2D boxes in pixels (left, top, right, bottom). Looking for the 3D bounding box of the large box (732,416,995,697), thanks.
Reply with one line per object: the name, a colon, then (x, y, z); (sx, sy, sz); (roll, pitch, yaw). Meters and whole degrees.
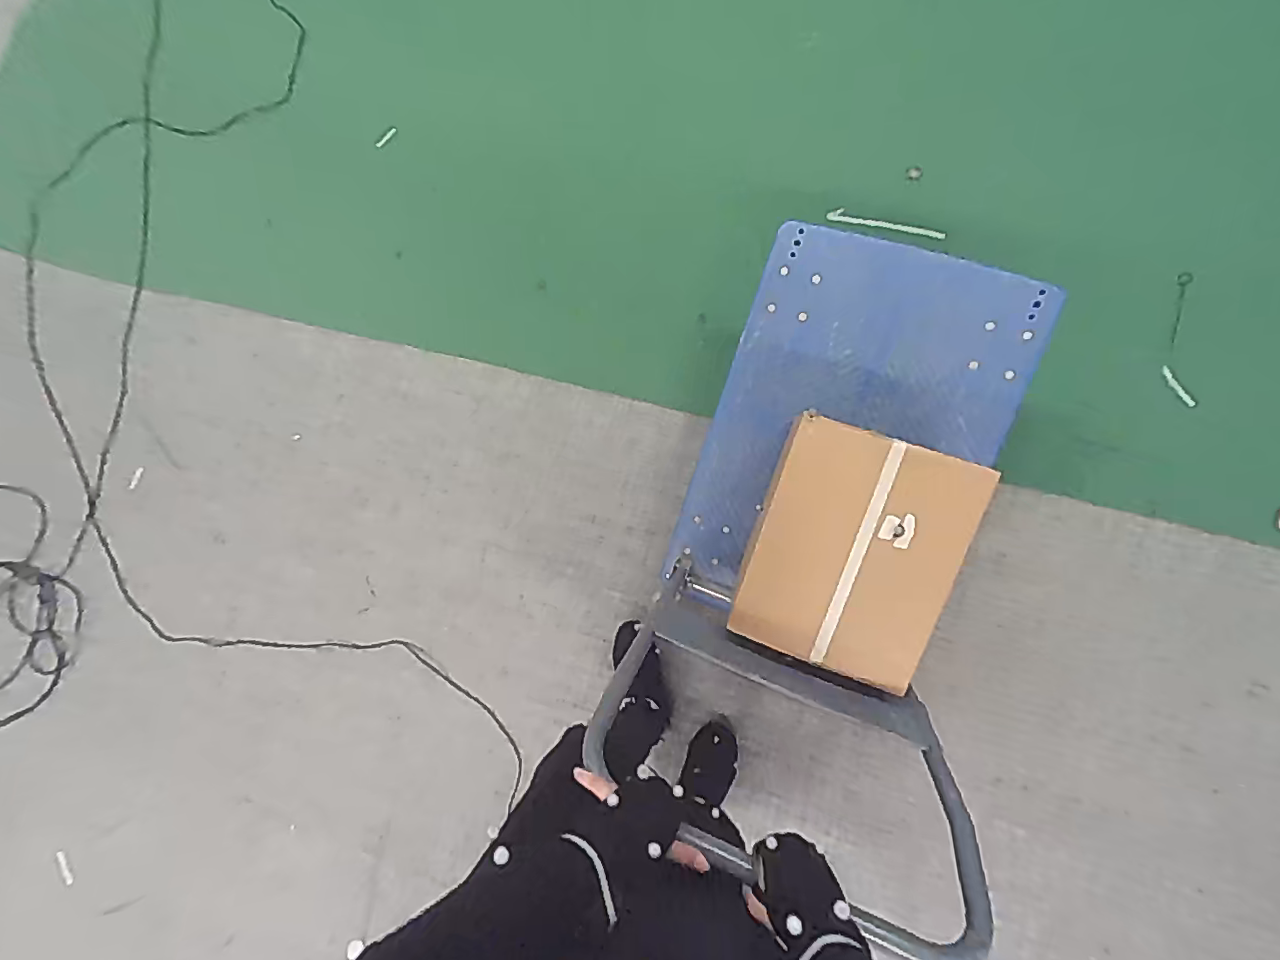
large box: (0.392, 0.117, 1.039); (0.320, 0.320, 0.408); (19, 99, 11)
